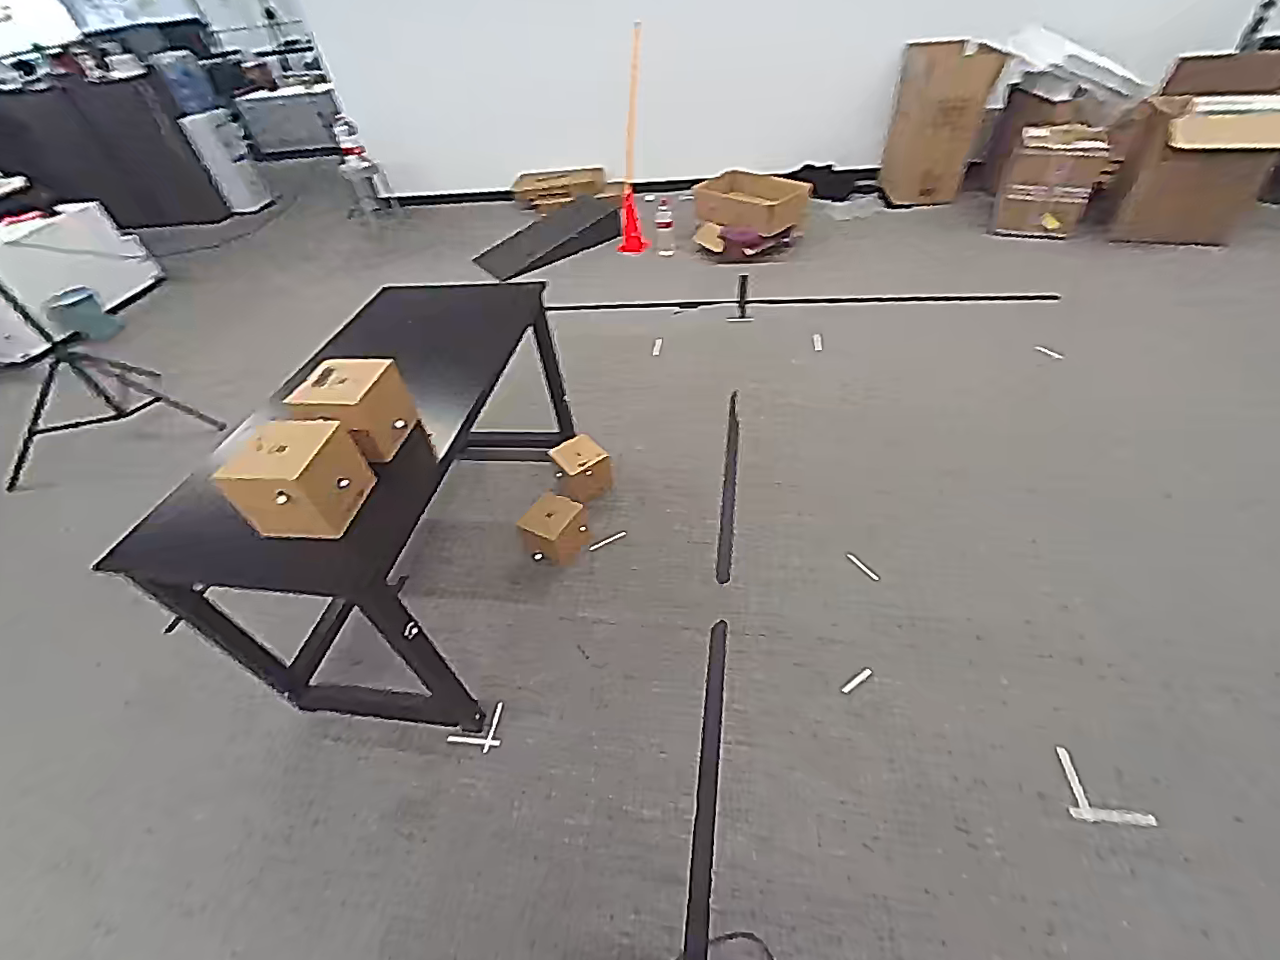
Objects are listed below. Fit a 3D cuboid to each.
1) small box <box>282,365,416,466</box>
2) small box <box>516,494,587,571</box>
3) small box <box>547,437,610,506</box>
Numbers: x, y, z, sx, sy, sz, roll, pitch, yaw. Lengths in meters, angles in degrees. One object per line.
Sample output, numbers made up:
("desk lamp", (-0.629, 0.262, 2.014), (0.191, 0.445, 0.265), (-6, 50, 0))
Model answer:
("small box", (-0.650, -0.146, 1.232), (0.179, 0.176, 0.168), (2, 46, 10))
("small box", (-0.302, 0.185, 1.889), (0.168, 0.176, 0.179), (18, 51, 25))
("small box", (-0.236, -0.032, 2.091), (0.168, 0.176, 0.179), (-32, 50, -22))
